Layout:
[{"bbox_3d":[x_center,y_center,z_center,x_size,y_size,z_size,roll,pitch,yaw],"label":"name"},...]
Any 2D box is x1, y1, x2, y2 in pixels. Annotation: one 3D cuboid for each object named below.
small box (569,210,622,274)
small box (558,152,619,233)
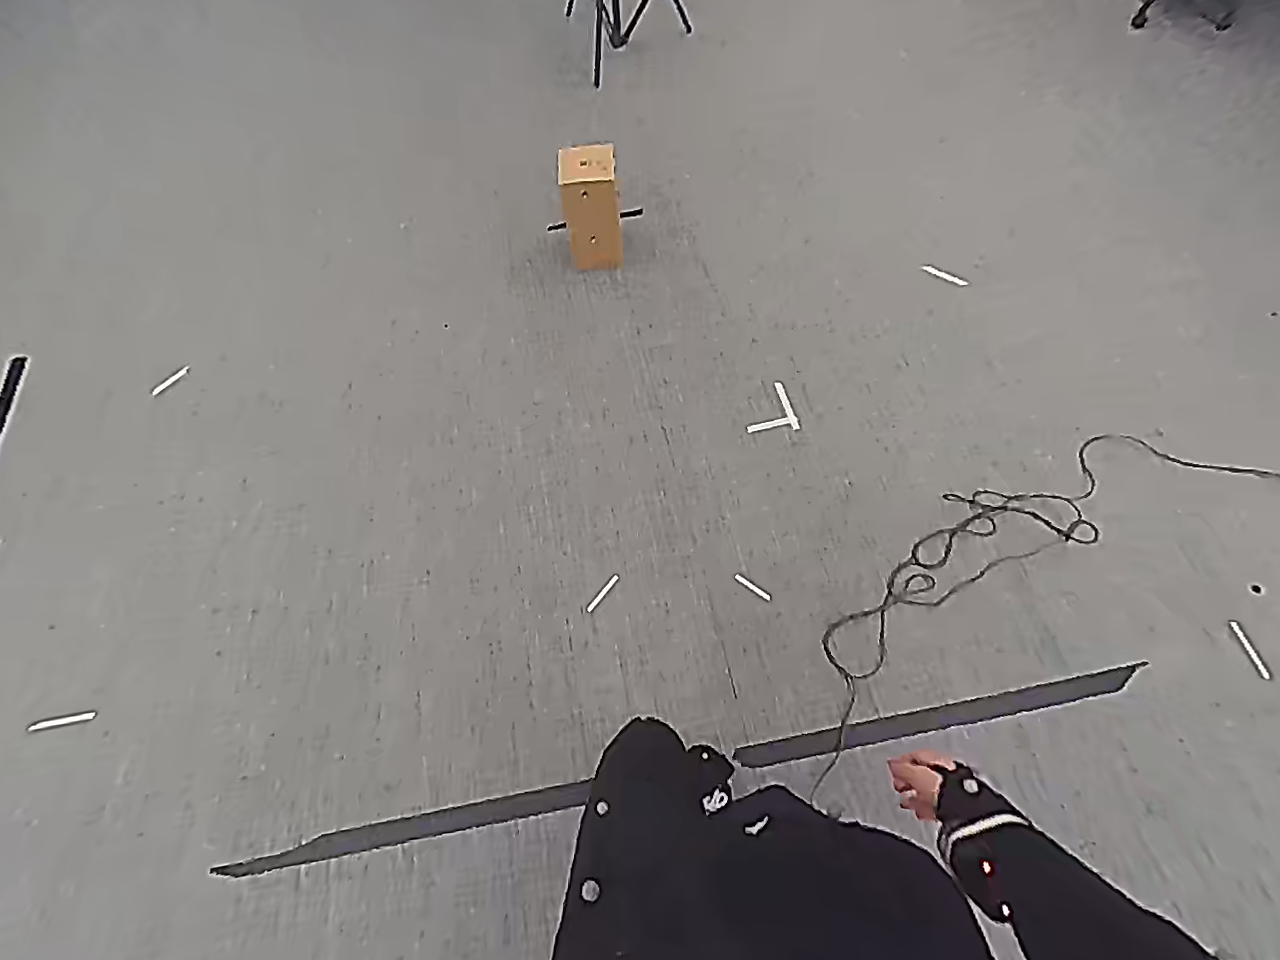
[{"bbox_3d":[-0.155,-0.846,1.889,0.179,0.176,0.168,-6,65,-1],"label":"small box"},{"bbox_3d":[-0.163,-0.922,1.743,0.179,0.176,0.168,-4,66,0],"label":"small box"}]
